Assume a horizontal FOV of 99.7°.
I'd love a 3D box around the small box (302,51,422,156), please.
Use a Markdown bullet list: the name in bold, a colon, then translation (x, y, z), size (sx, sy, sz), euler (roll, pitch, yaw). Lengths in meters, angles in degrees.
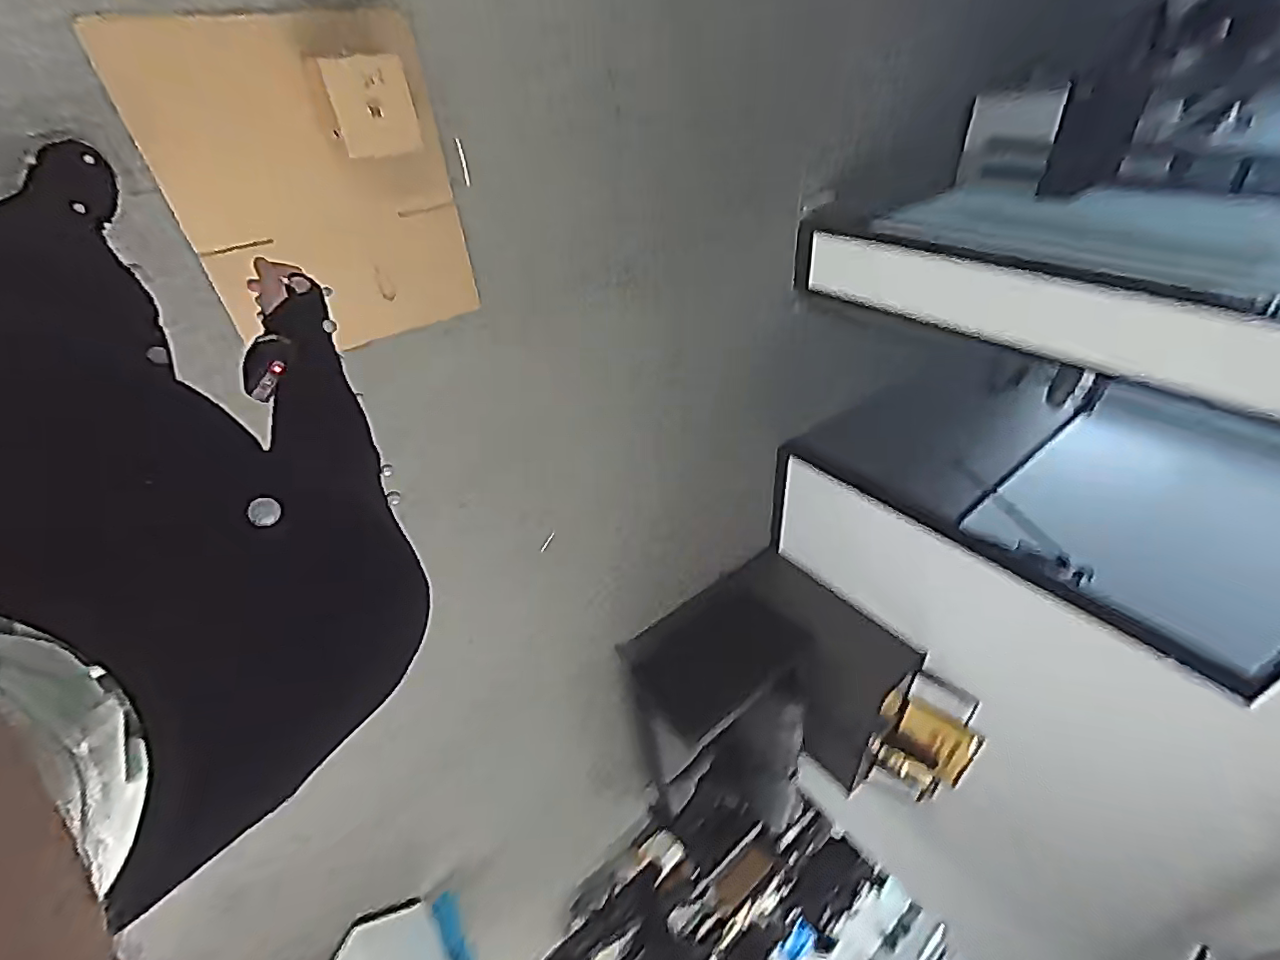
- **small box**: translation (-0.606, -0.826, 1.183), size (0.168, 0.176, 0.179), euler (-27, 134, -28)
